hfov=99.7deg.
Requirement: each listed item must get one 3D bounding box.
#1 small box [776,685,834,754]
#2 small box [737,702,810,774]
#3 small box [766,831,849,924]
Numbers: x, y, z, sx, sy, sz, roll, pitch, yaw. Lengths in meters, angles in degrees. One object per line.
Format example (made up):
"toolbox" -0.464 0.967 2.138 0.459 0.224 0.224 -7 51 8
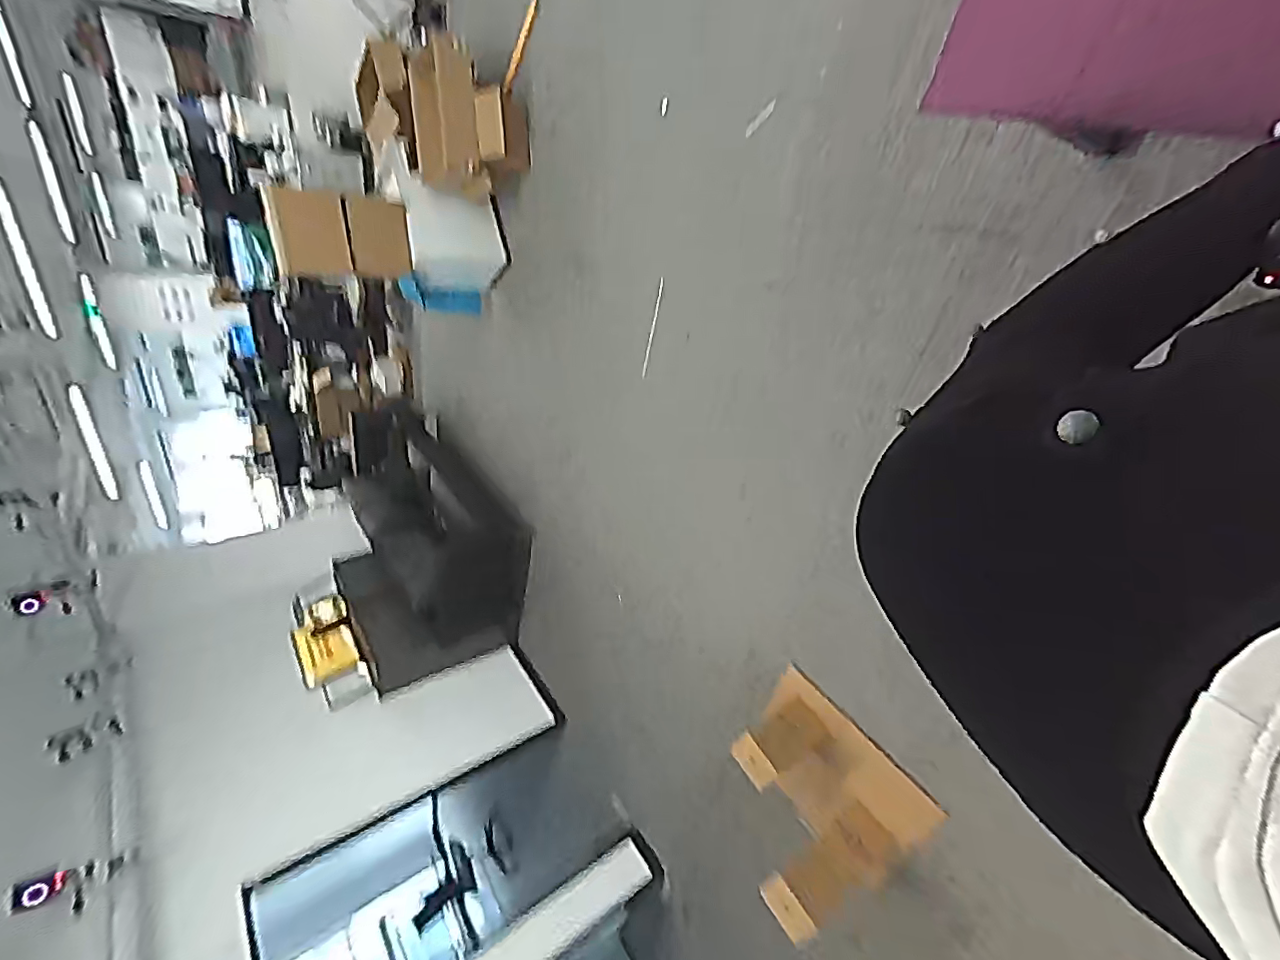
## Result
"small box" 0.641 0.958 2.183 0.179 0.176 0.168 47 135 33
"small box" 0.513 0.985 2.082 0.179 0.176 0.168 50 137 30
"small box" 0.572 1.350 1.844 0.179 0.176 0.168 49 135 33
